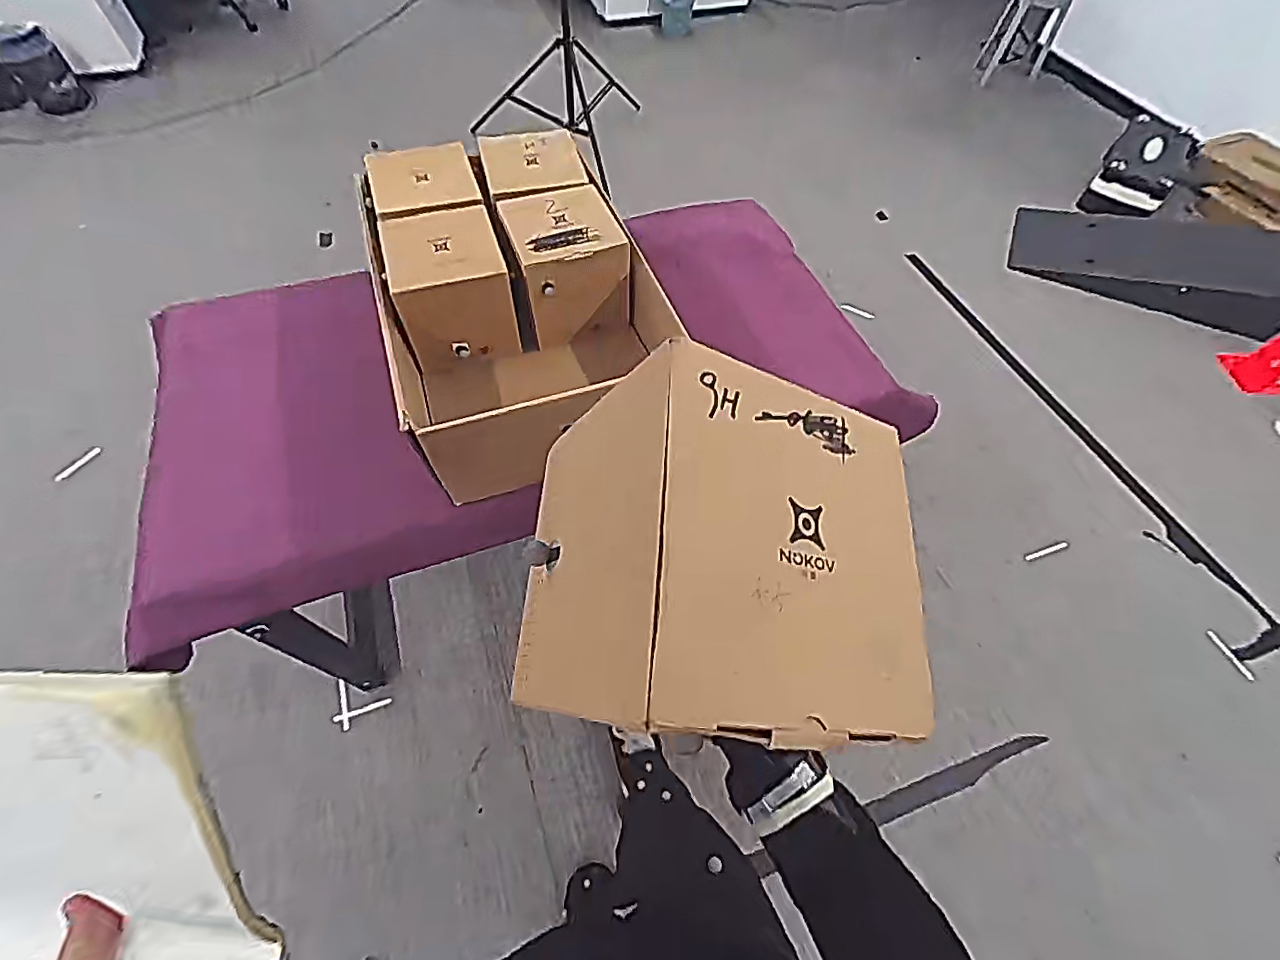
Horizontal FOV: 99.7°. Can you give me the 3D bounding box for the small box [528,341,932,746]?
[{"bbox_3d":[0.041,0.053,0.330,0.168,0.176,0.179,15,67,-26],"label":"small box"}]
